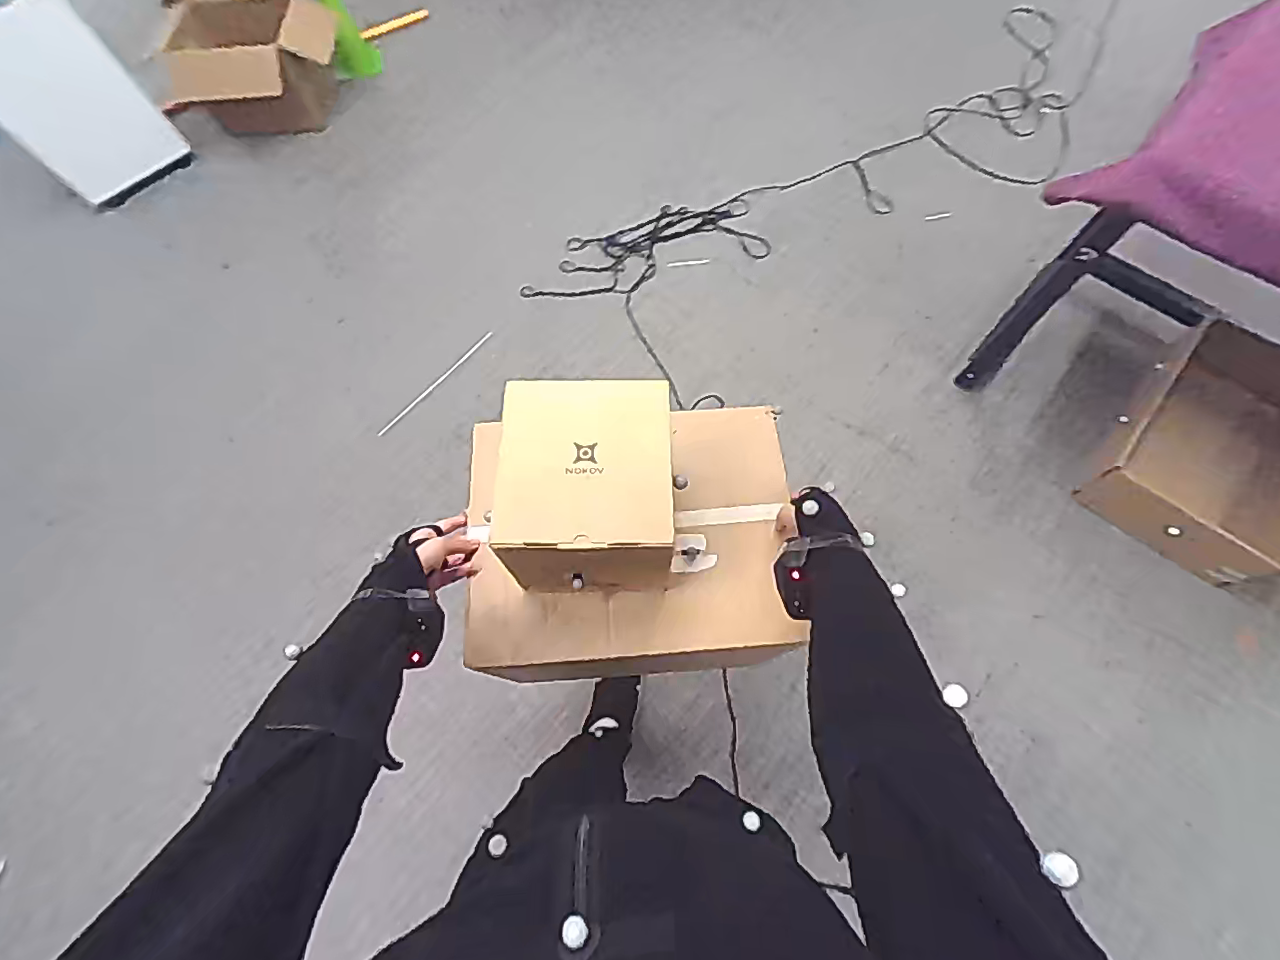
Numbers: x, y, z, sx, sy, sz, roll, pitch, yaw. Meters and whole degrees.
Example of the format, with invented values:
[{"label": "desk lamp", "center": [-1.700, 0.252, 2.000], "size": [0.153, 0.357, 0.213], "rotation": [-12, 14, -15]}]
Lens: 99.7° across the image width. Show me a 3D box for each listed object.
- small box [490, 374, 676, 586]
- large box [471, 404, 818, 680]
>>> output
[{"label": "small box", "center": [-0.051, 0.007, 0.577], "size": [0.168, 0.176, 0.179], "rotation": [0, 66, -1]}, {"label": "large box", "center": [-0.009, 0.108, 0.800], "size": [0.408, 0.320, 0.320], "rotation": [-3, 67, -3]}]
